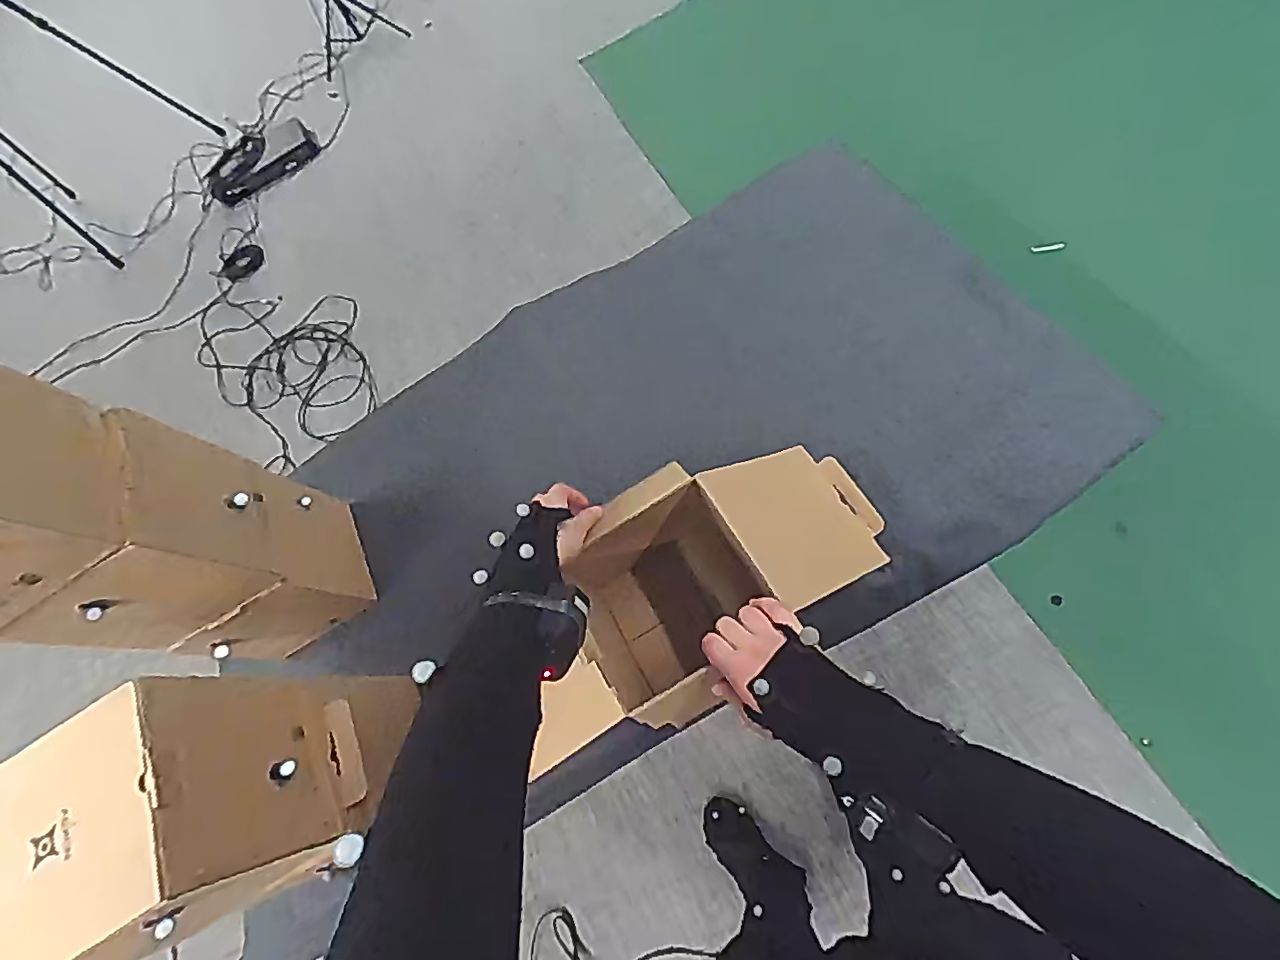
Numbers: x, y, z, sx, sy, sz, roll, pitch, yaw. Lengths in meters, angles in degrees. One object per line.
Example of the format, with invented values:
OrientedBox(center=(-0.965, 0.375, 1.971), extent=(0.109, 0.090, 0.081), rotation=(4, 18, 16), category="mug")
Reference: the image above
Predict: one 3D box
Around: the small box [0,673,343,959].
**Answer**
OrientedBox(center=(-0.405, 0.288, 0.468), extent=(0.179, 0.176, 0.168), rotation=(-33, 67, 0), category="small box")

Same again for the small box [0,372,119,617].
OrientedBox(center=(-0.570, 0.008, 0.428), extent=(0.168, 0.176, 0.179), rotation=(-33, 66, -1), category="small box")

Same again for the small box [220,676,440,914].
OrientedBox(center=(-0.353, 0.336, 0.615), extent=(0.179, 0.176, 0.168), rotation=(-29, 67, 3), category="small box")

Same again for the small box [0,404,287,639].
OrientedBox(center=(-0.528, 0.057, 0.577), extent=(0.179, 0.176, 0.168), rotation=(-30, 68, 2), category="small box")
